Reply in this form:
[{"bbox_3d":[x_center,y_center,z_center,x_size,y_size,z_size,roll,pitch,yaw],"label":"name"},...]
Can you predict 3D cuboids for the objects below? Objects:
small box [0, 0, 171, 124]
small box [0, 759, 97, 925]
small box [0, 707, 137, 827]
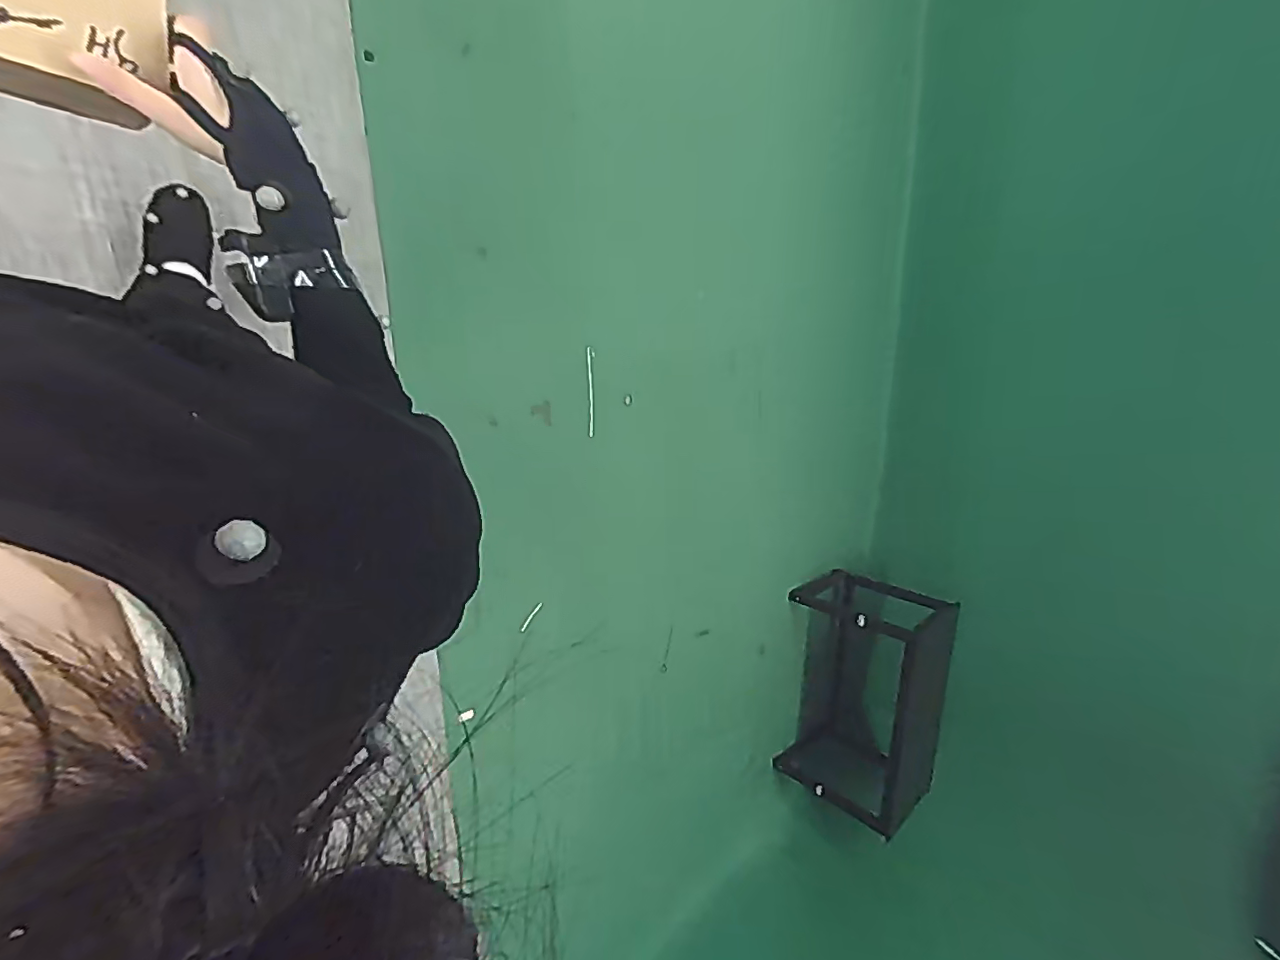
[{"bbox_3d":[-0.425,-0.363,0.350,0.168,0.176,0.179,-6,114,-46],"label":"small box"},{"bbox_3d":[-1.057,0.604,0.903,0.168,0.176,0.179,-21,112,-35],"label":"small box"},{"bbox_3d":[-1.126,0.583,1.058,0.179,0.176,0.168,-19,111,-36],"label":"small box"}]
